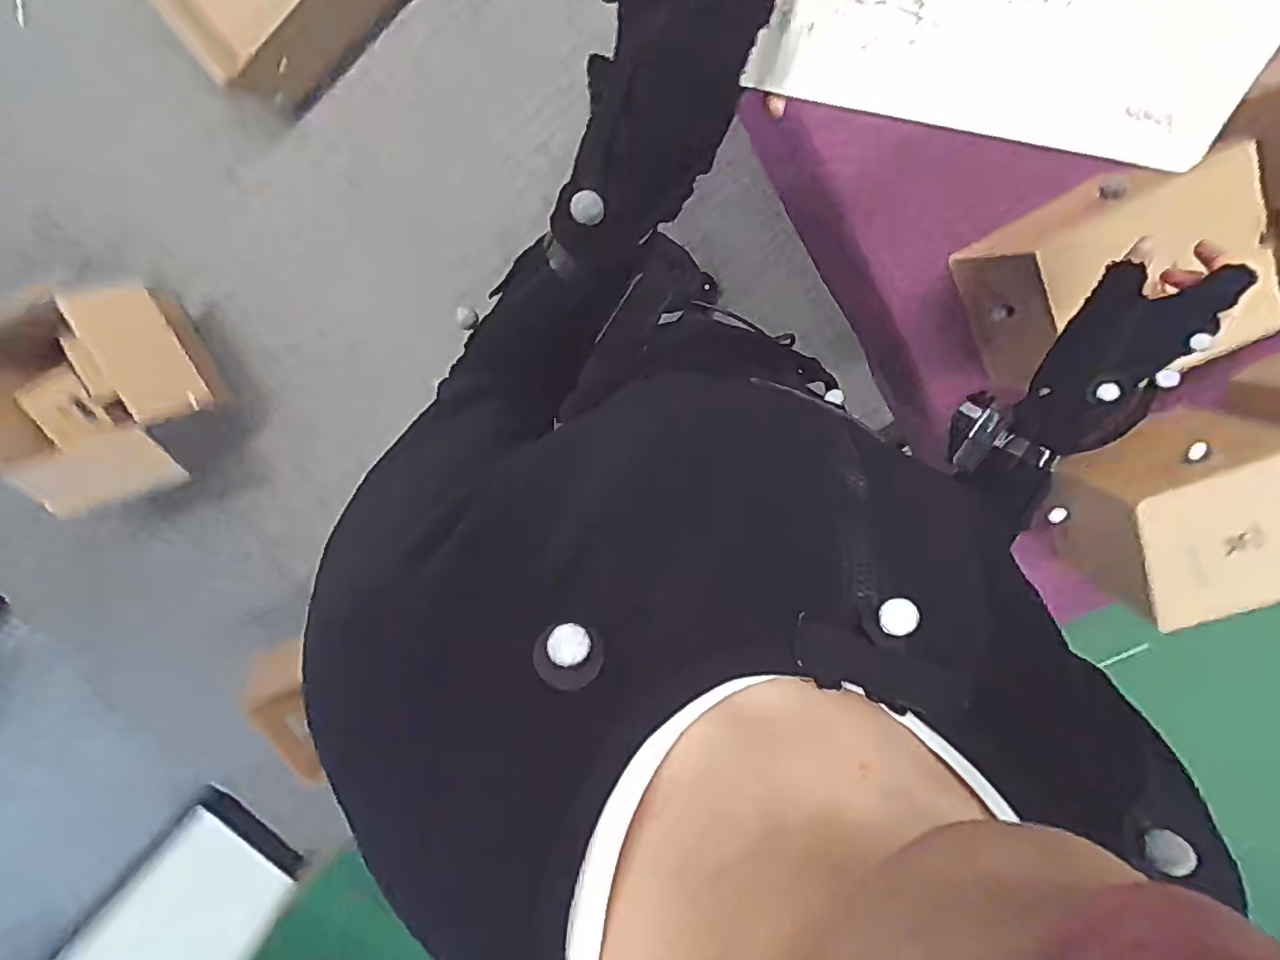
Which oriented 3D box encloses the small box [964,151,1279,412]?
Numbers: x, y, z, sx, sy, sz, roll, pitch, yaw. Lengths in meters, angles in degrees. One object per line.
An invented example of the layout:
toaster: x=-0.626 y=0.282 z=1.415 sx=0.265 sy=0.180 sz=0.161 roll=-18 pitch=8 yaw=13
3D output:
small box: x=0.467 y=-0.192 z=0.556 sx=0.179 sy=0.176 sz=0.168 roll=-25 pitch=105 yaw=13

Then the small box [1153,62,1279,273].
small box: x=0.649 y=-0.311 z=0.500 sx=0.179 sy=0.176 sz=0.168 roll=-28 pitch=105 yaw=13

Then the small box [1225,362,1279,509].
small box: x=0.809 y=-0.055 z=0.581 sx=0.179 sy=0.176 sz=0.168 roll=-24 pitch=106 yaw=11
